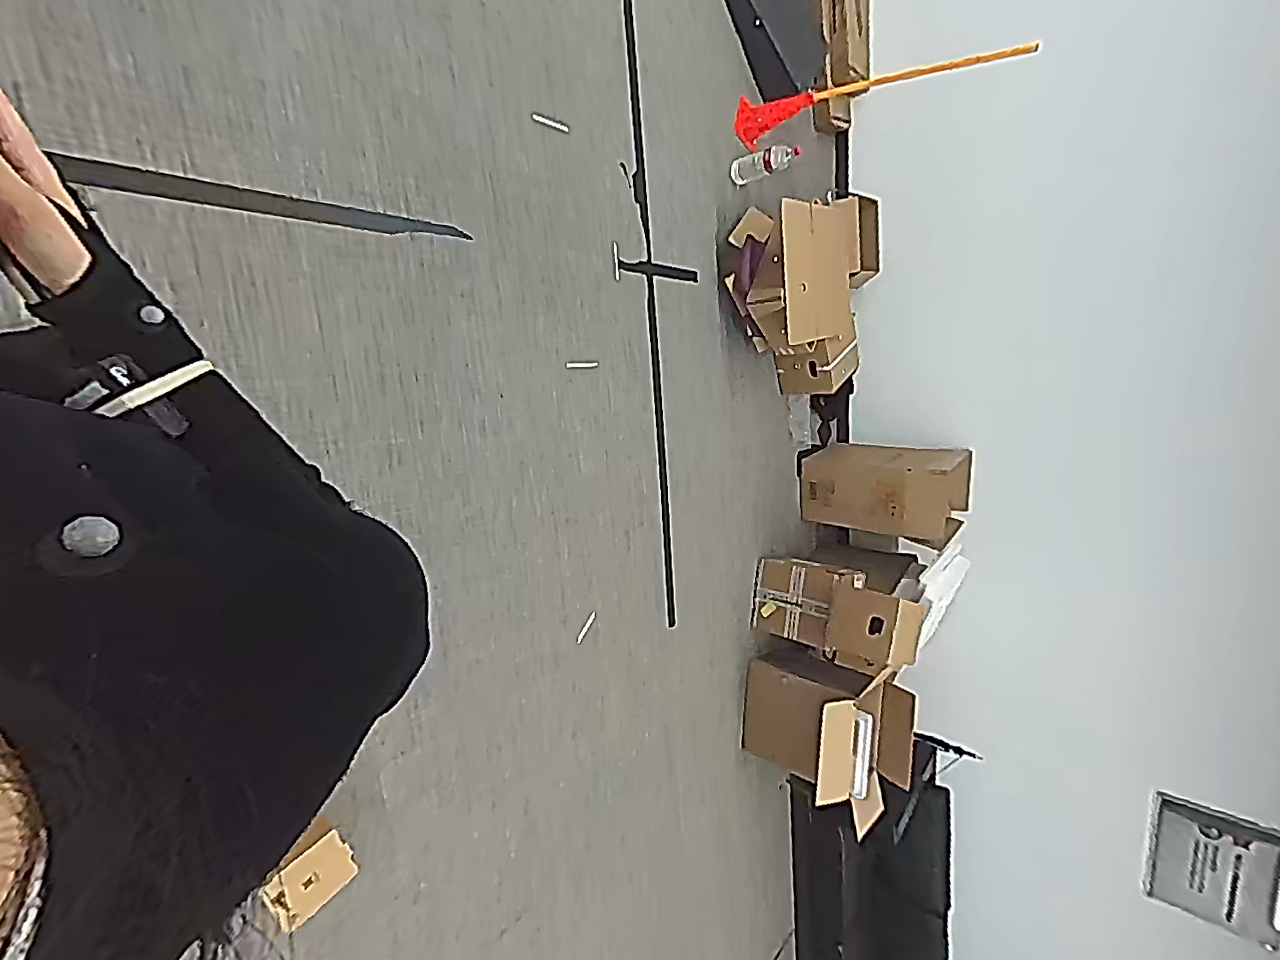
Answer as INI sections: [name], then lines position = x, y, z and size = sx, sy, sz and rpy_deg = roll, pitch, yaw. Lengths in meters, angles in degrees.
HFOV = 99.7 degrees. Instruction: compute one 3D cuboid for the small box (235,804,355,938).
[small box]
position = -0.853, 0.953, 1.338
size = 0.179, 0.176, 0.168
rpy_deg = -32, 117, -43
